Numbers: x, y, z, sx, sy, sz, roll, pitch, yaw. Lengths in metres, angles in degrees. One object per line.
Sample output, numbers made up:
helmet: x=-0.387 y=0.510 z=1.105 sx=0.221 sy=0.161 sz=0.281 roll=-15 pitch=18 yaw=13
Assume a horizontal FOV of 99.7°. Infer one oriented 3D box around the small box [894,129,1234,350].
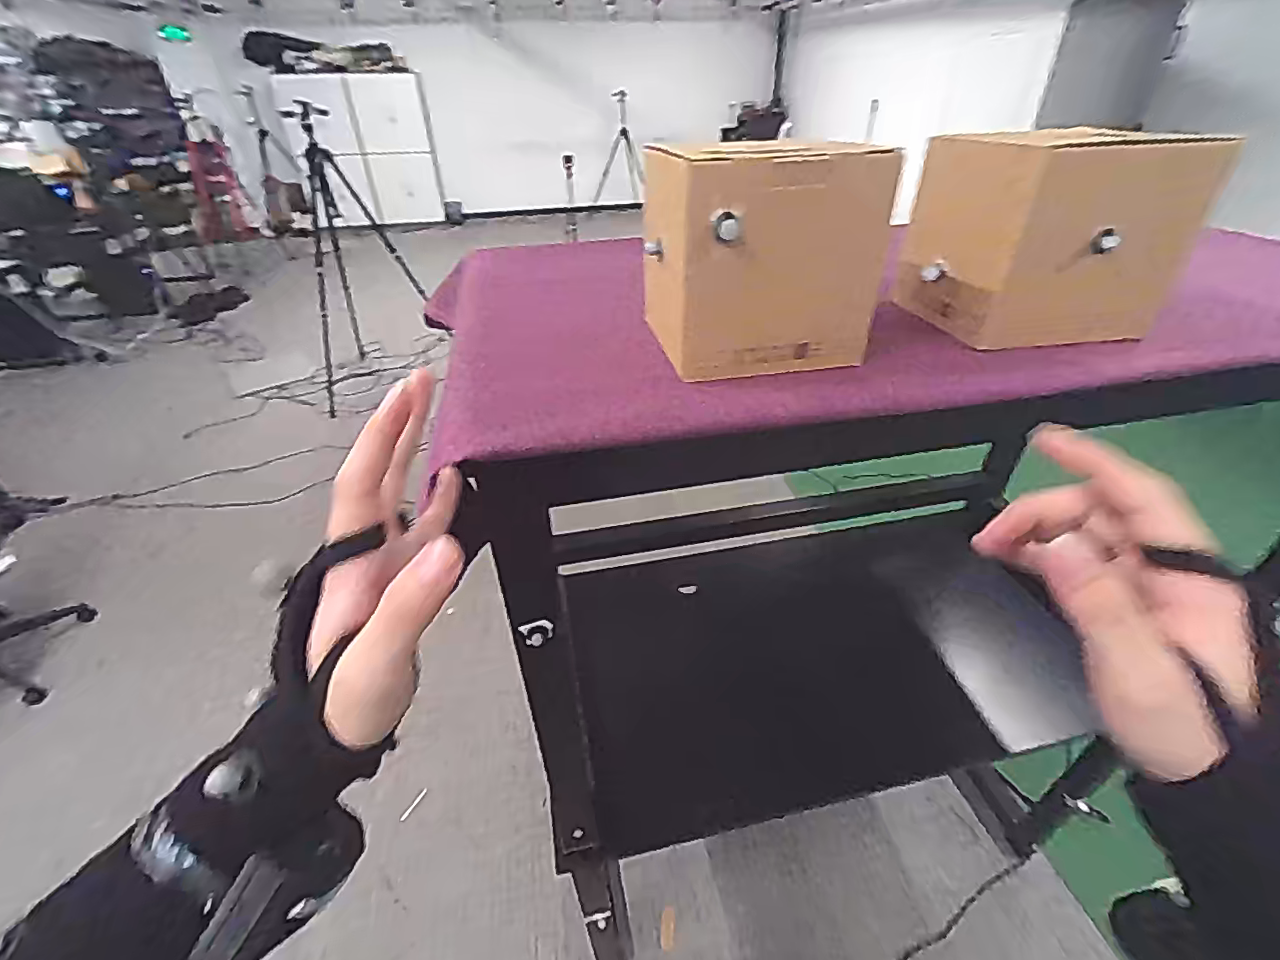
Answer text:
small box: x=0.386 y=-0.241 z=0.536 sx=0.179 sy=0.176 sz=0.168 roll=-6 pitch=35 yaw=-4
